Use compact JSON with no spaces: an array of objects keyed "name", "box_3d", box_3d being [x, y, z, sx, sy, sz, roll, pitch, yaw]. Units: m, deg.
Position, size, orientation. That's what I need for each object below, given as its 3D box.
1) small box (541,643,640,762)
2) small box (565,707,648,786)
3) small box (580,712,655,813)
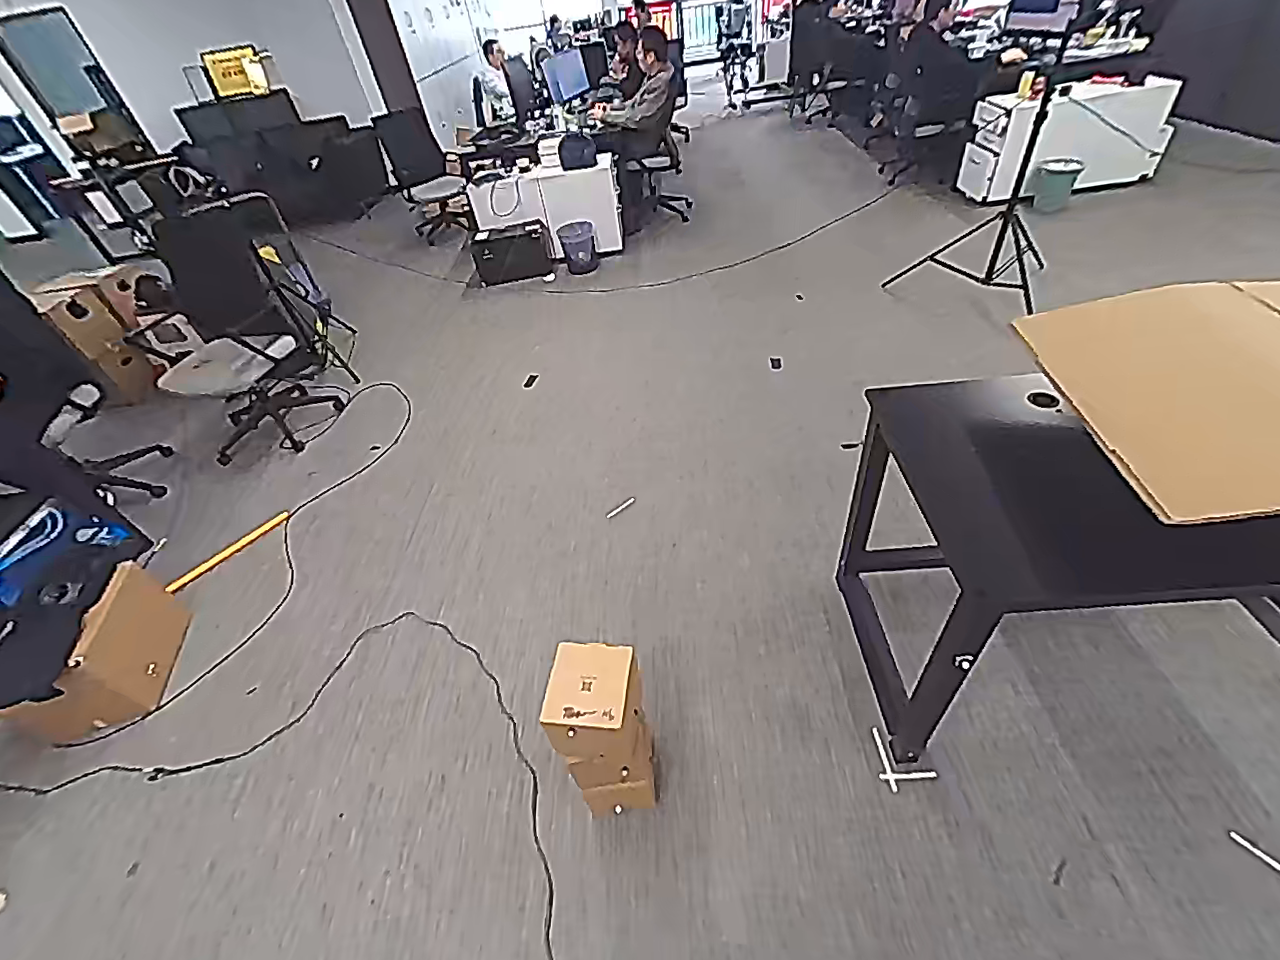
[{"name":"small box","box_3d":[-0.096,0.474,1.157,0.168,0.176,0.179,0,42,10]},{"name":"small box","box_3d":[-0.078,0.595,1.267,0.168,0.176,0.179,-9,41,-1]},{"name":"small box","box_3d":[-0.055,0.717,1.371,0.168,0.176,0.179,-8,43,3]}]
